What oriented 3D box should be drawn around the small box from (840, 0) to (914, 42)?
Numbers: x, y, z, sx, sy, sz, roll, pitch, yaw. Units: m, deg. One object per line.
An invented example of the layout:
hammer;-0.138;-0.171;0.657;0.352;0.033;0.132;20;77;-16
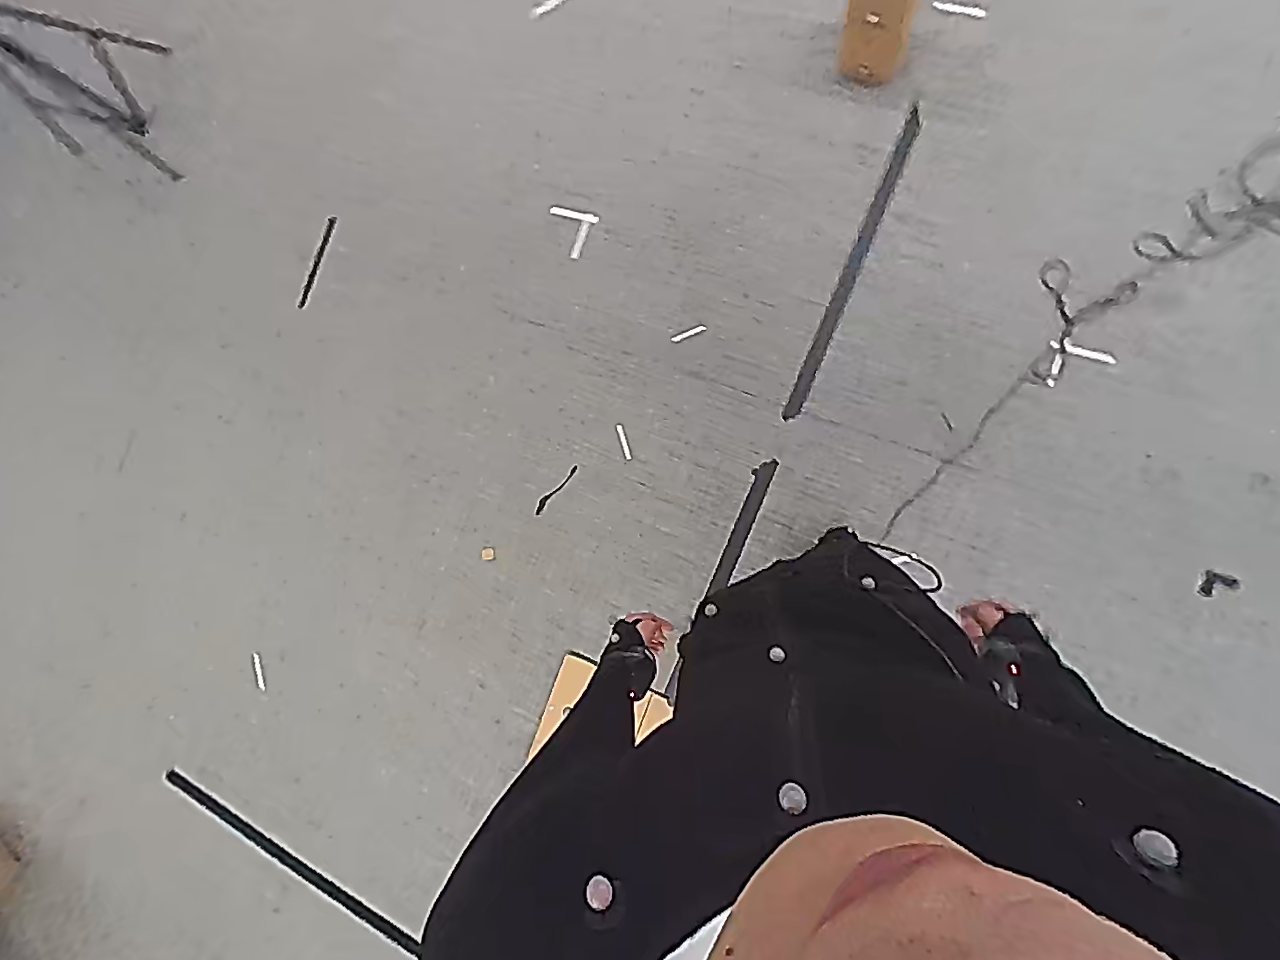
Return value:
small box;0.637;-1.303;1.404;0.168;0.176;0.179;24;92;14
